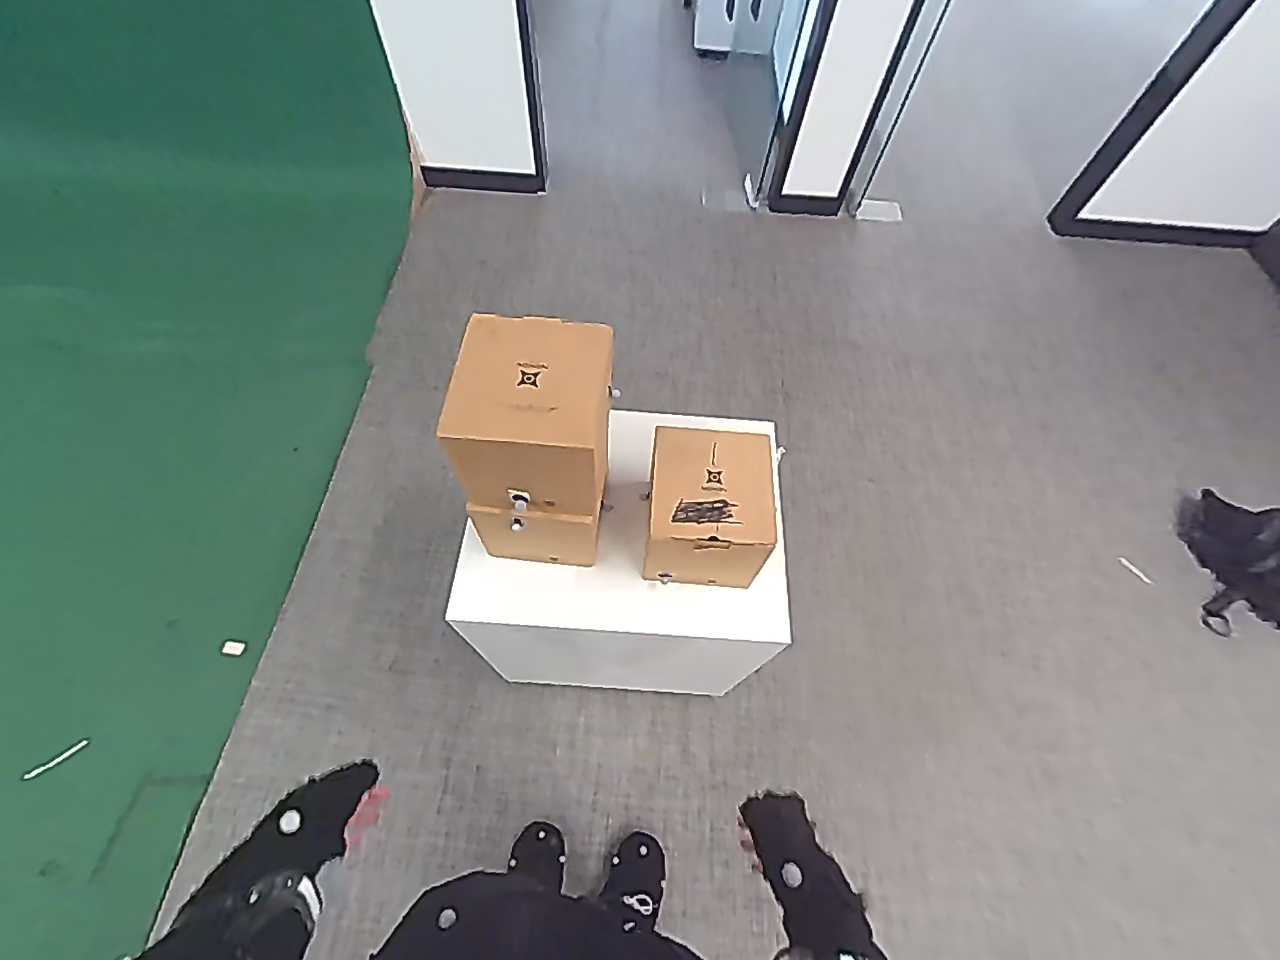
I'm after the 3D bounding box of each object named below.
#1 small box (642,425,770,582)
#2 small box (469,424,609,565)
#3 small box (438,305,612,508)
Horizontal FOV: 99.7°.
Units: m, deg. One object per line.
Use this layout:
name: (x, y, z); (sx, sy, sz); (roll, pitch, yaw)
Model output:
small box: (0.092, 0.041, 0.806); (0.168, 0.176, 0.179); (5, 60, 0)
small box: (-0.138, 0.009, 0.811); (0.168, 0.176, 0.179); (6, 59, 1)
small box: (-0.125, -0.084, 0.660); (0.168, 0.176, 0.179); (4, 62, -1)
